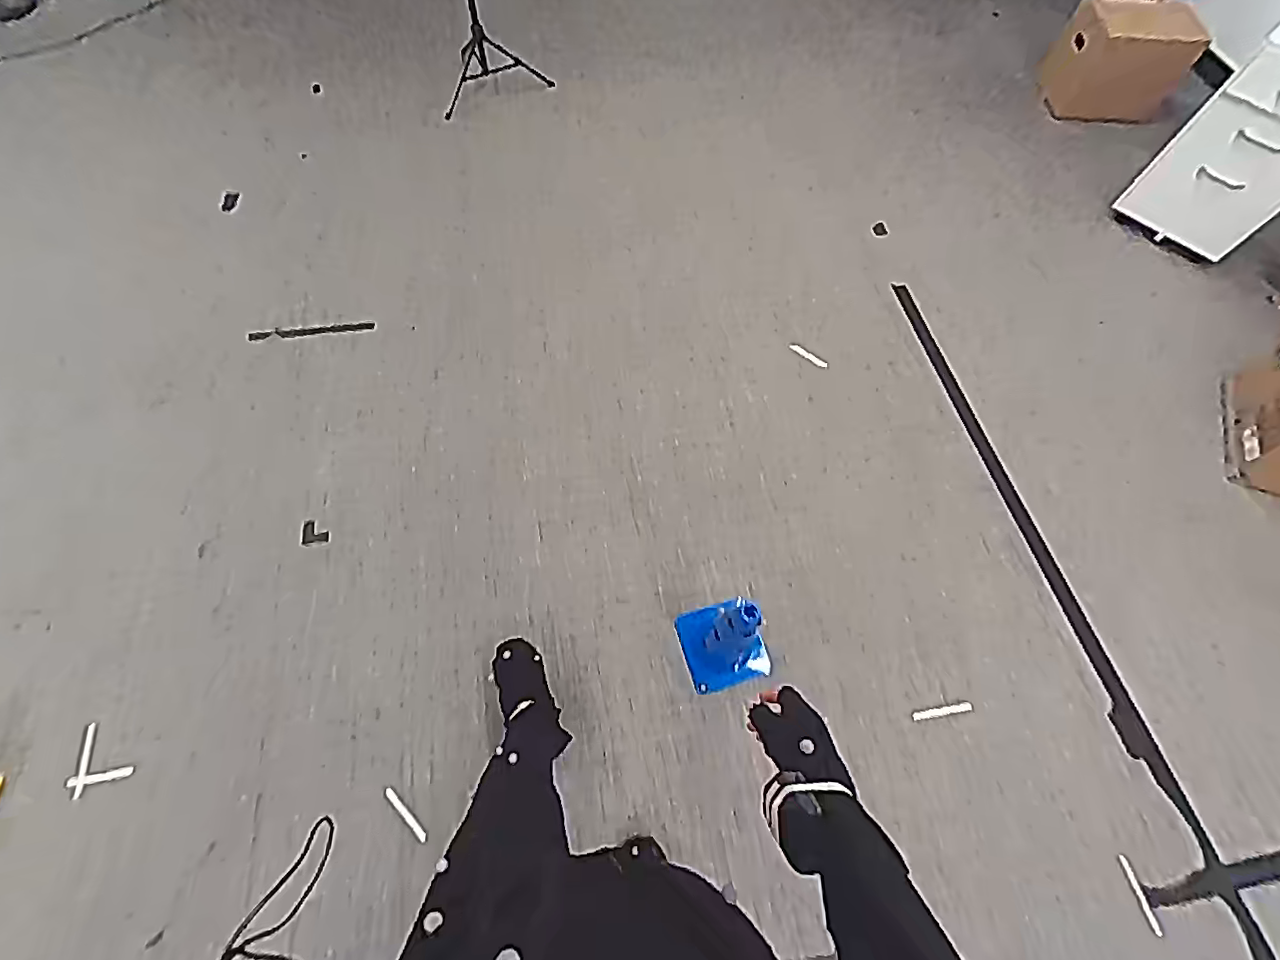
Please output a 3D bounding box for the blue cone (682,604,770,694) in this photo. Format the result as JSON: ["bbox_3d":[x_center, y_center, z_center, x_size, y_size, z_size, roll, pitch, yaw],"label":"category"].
[{"bbox_3d":[0.213,0.342,1.197,0.193,0.380,0.192,-13,65,-7],"label":"blue cone"}]
